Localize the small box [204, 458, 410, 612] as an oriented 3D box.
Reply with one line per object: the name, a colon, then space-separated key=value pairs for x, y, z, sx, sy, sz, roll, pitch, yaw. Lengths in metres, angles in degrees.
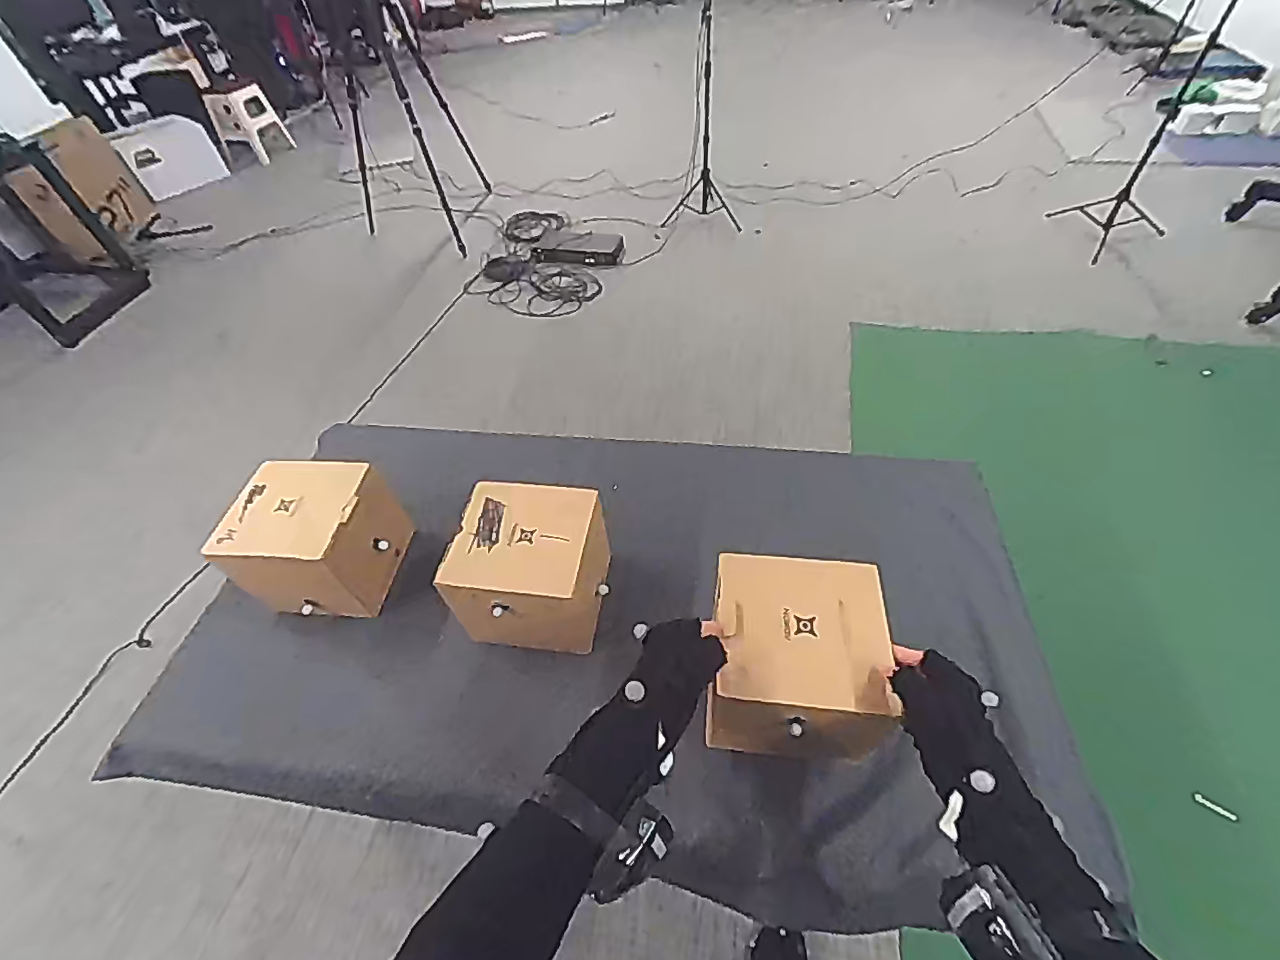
small box: x=-0.477 y=0.086 z=0.813 sx=0.179 sy=0.176 sz=0.168 roll=2 pitch=51 yaw=6

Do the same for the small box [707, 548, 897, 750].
small box: x=0.170 y=0.198 z=0.627 sx=0.179 sy=0.176 sz=0.168 roll=4 pitch=50 yaw=6

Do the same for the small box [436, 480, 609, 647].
small box: x=-0.149 y=0.120 z=0.758 sx=0.179 sy=0.176 sz=0.168 roll=5 pitch=51 yaw=8
